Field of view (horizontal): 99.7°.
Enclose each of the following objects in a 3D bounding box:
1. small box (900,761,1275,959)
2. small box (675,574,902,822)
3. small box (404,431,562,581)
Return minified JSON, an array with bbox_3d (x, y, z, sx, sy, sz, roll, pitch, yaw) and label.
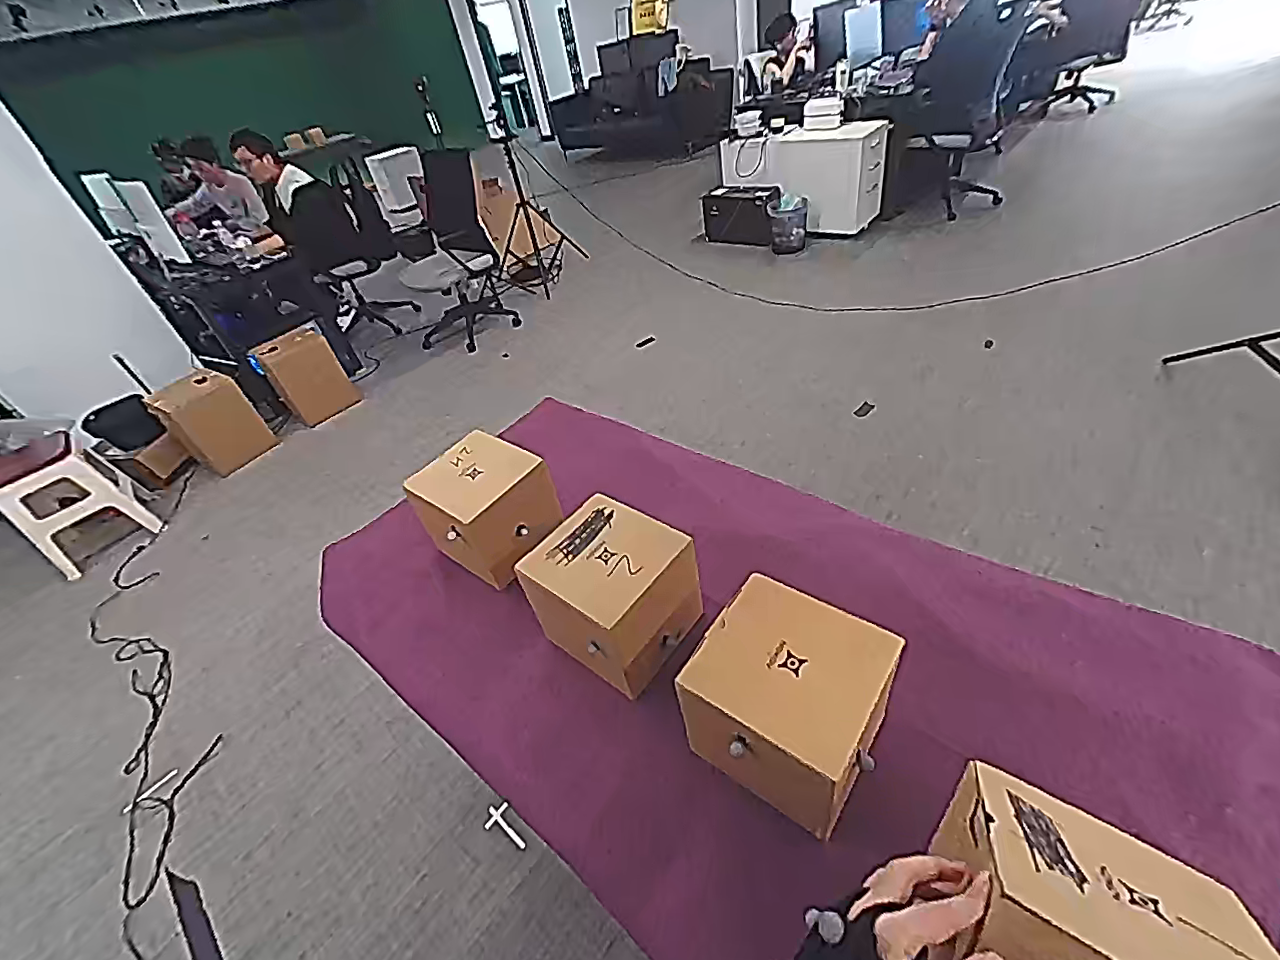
[{"bbox_3d":[0.293,0.346,0.371,0.179,0.176,0.168,24,11,23],"label":"small box"},{"bbox_3d":[0.164,0.244,0.605,0.179,0.176,0.168,21,51,34],"label":"small box"},{"bbox_3d":[-0.258,0.048,0.931,0.179,0.176,0.168,23,51,31],"label":"small box"}]
